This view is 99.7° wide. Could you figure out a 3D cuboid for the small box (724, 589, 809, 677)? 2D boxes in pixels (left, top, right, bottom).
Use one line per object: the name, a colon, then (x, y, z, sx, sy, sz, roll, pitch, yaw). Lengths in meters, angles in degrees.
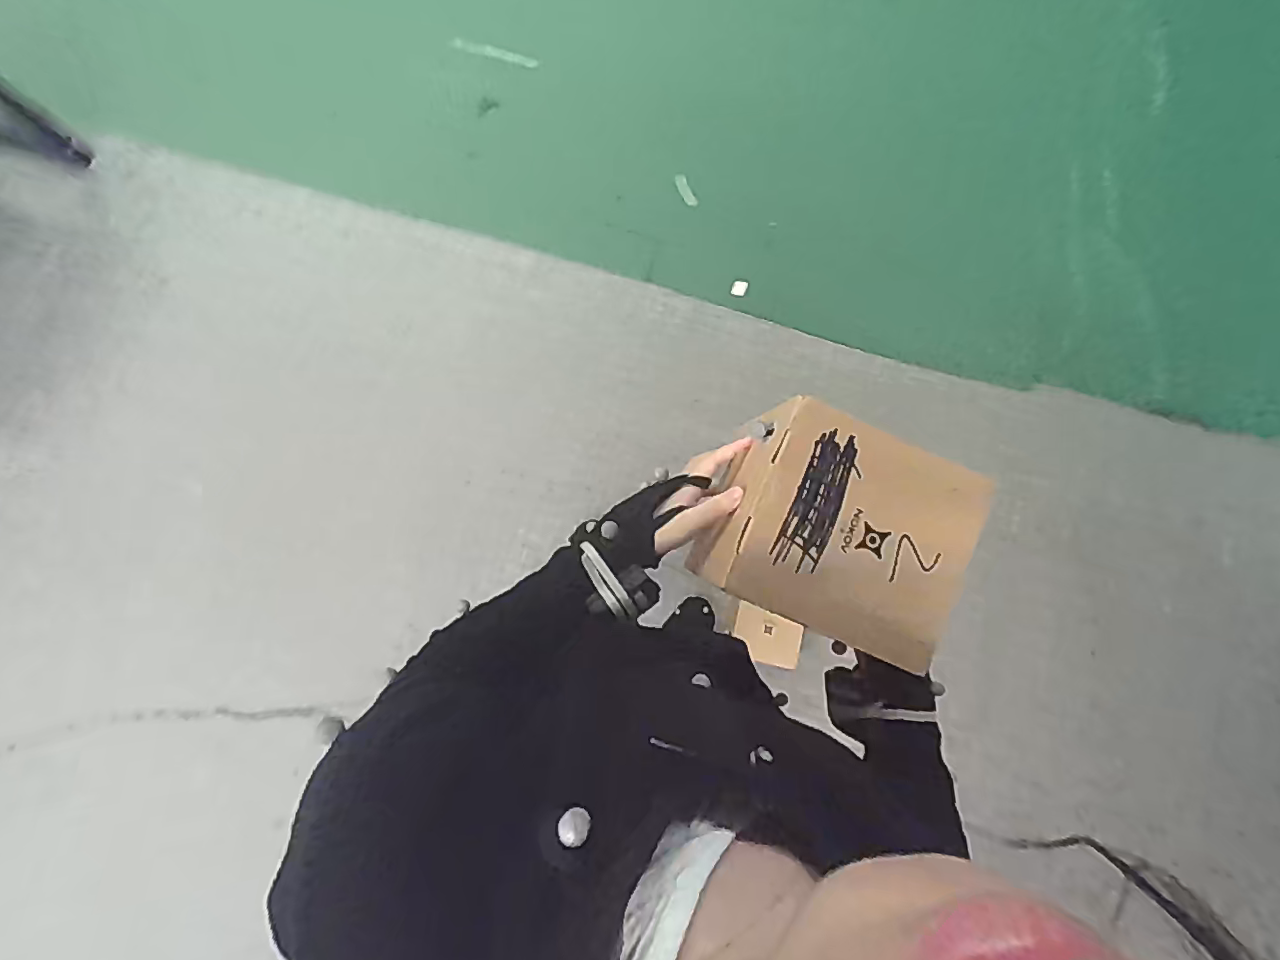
small box: (0.320, 0.387, 1.399, 0.168, 0.176, 0.179, 14, 79, 4)
